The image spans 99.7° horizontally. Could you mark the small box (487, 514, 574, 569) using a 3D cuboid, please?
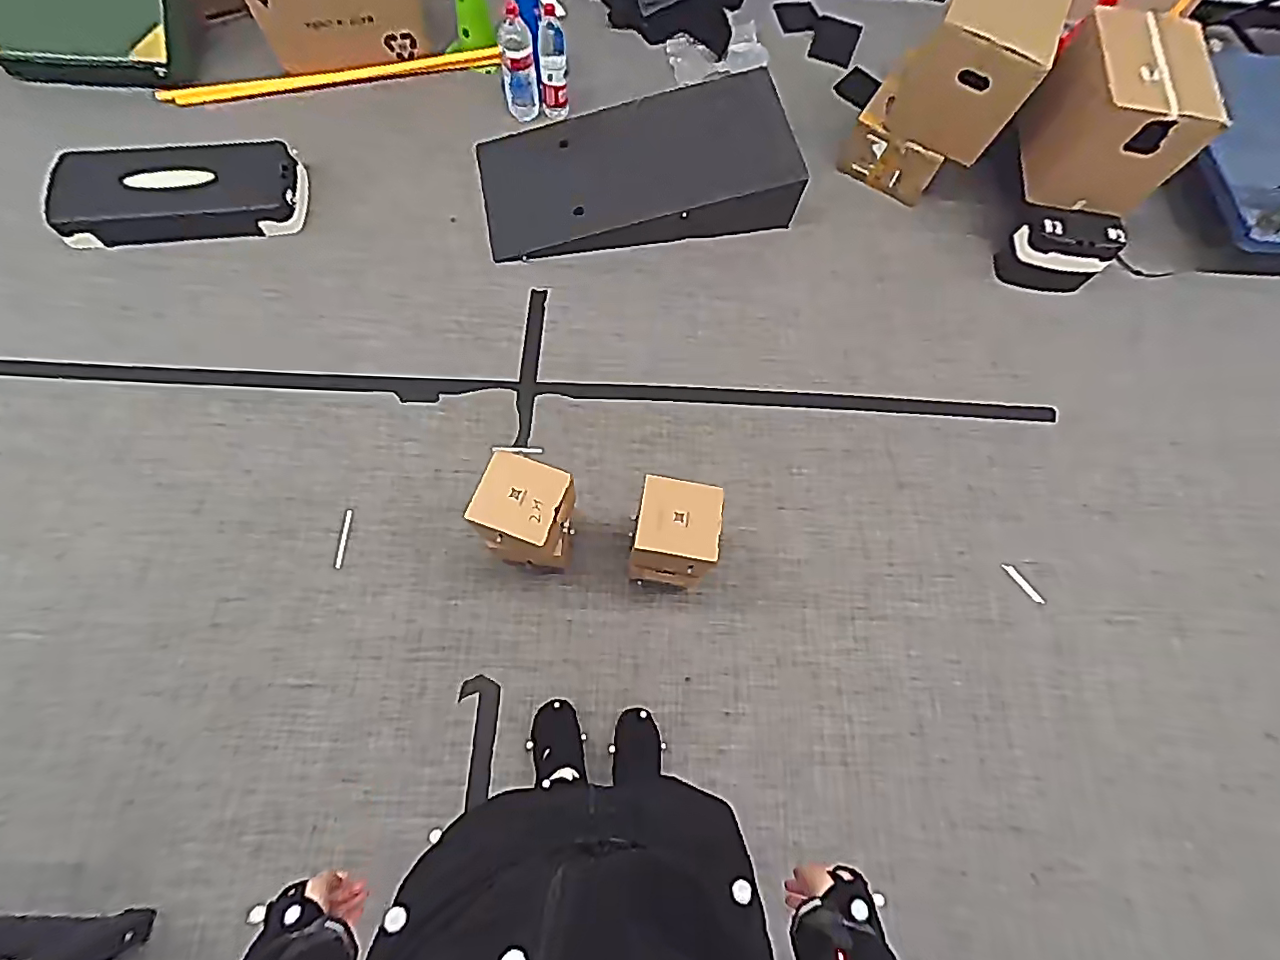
[{"bbox_3d":[-0.261,0.119,1.339,0.179,0.176,0.168,9,70,-2],"label":"small box"}]

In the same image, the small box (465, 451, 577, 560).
[{"bbox_3d":[-0.250,0.063,1.184,0.179,0.176,0.168,20,72,3],"label":"small box"}]

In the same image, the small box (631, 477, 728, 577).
[{"bbox_3d":[0.082,0.111,1.197,0.179,0.176,0.168,11,70,0],"label":"small box"}]

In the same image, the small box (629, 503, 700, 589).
[{"bbox_3d":[0.067,0.168,1.349,0.168,0.176,0.179,10,70,-1],"label":"small box"}]
